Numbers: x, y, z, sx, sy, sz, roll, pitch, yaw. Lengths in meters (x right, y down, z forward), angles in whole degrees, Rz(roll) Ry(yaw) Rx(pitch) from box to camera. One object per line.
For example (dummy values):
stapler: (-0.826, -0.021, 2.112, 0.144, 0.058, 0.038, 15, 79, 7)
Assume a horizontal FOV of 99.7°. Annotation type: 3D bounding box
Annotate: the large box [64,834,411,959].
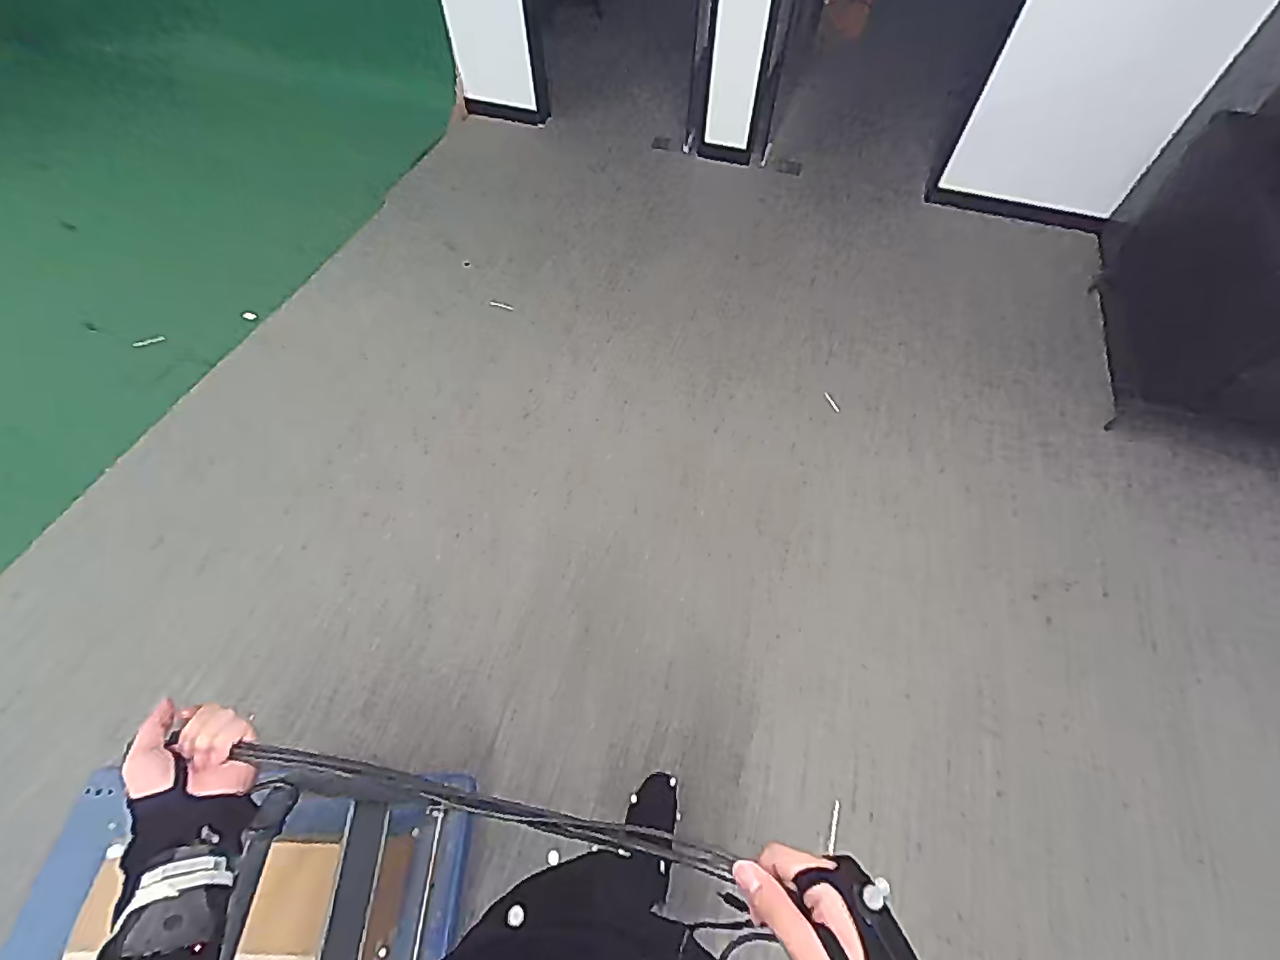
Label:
large box: (-0.680, 0.814, 0.951, 0.408, 0.320, 0.320, 1, 57, 1)
